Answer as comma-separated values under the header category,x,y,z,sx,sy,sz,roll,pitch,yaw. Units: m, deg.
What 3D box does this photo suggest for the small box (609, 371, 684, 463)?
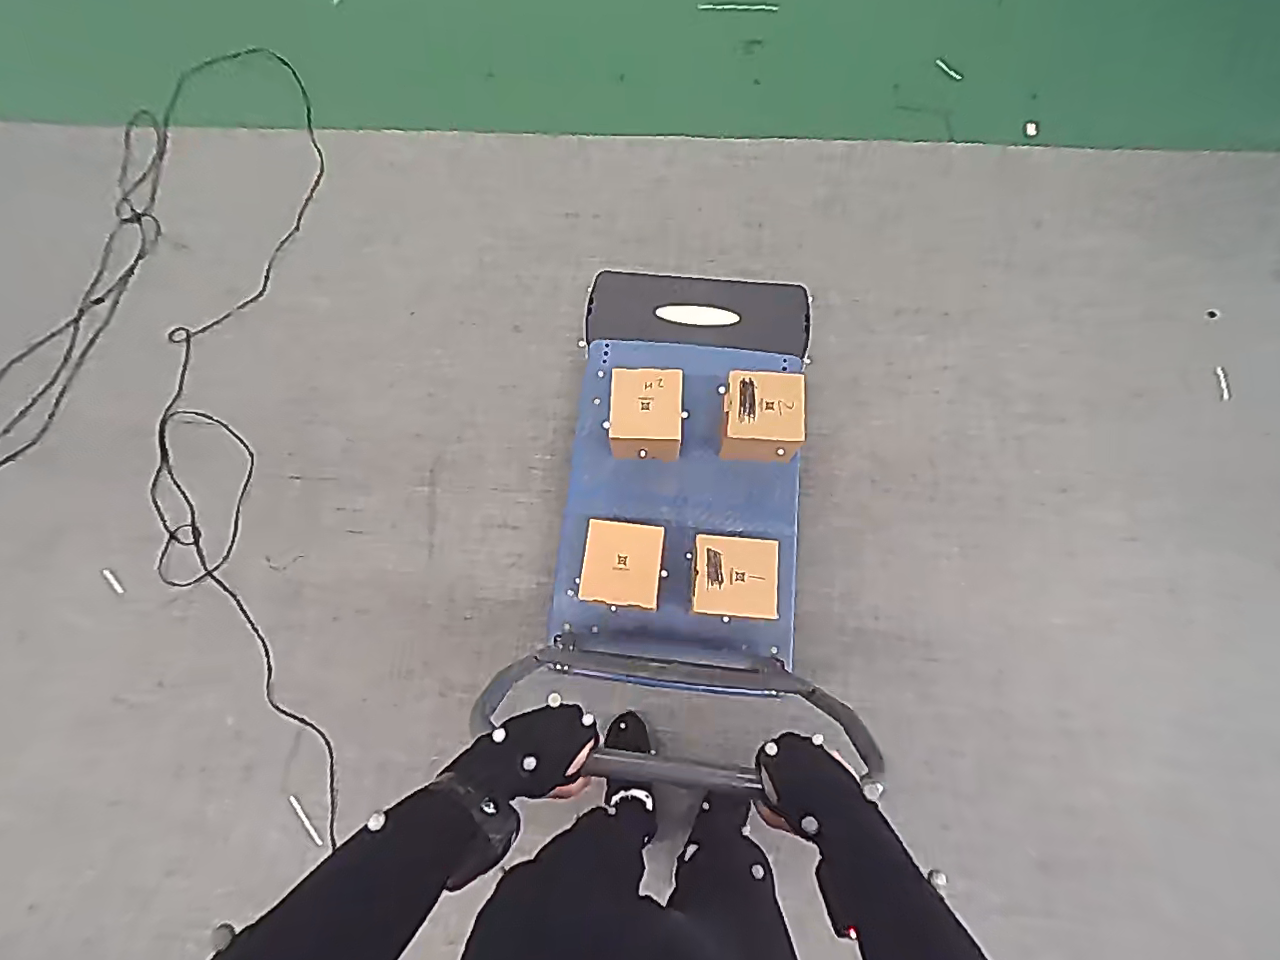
category,x,y,z,sx,sy,sz,roll,pitch,yaw
small box,0.018,-0.147,1.316,0.168,0.176,0.179,3,75,2

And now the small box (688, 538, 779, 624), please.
category,x,y,z,sx,sy,sz,roll,pitch,yaw
small box,0.203,0.230,1.210,0.179,0.176,0.168,5,76,2

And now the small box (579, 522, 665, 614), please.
category,x,y,z,sx,sy,sz,roll,pitch,yaw
small box,-0.038,0.204,1.226,0.168,0.176,0.179,7,76,3
